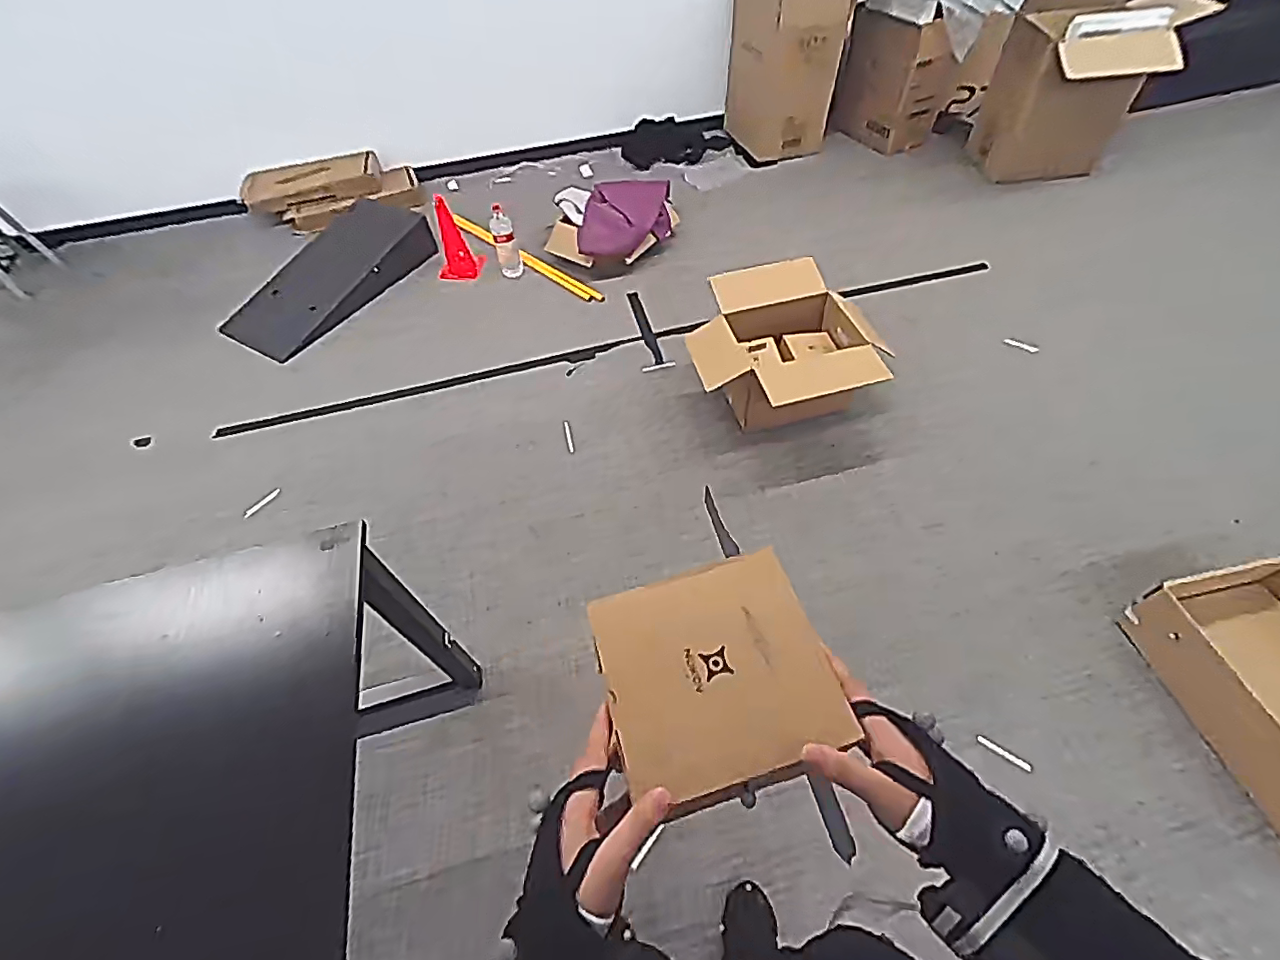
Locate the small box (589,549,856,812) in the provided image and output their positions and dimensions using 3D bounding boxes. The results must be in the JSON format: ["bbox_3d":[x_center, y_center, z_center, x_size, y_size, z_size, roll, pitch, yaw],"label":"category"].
[{"bbox_3d":[0.067,0.194,0.504,0.179,0.176,0.168,-17,57,-4],"label":"small box"}]
